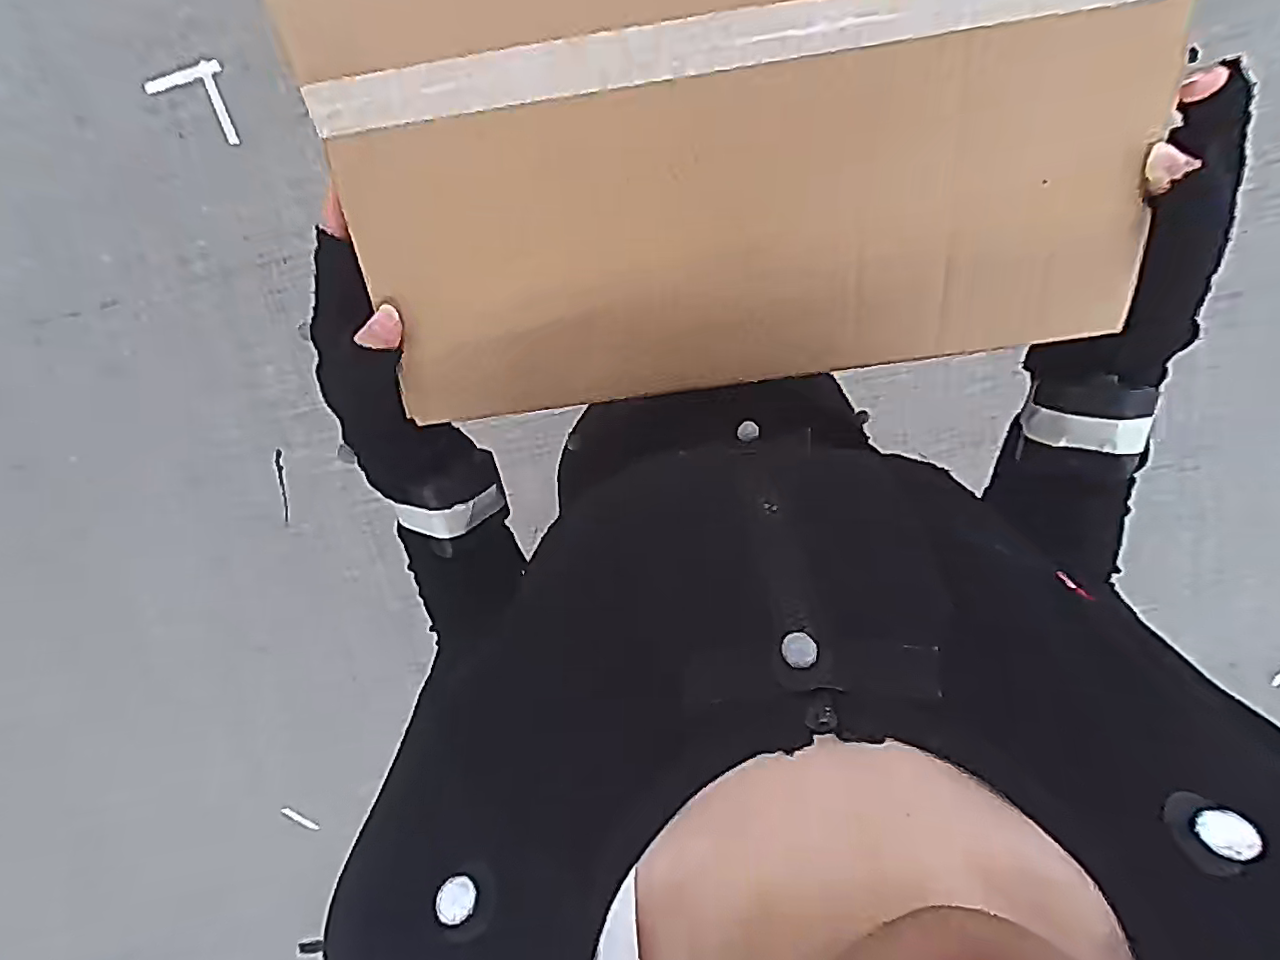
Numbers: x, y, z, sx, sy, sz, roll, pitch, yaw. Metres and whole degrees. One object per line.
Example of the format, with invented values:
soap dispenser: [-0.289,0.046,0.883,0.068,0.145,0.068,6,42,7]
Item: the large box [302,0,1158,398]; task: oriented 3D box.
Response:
large box: [0.041,-0.272,0.395,0.408,0.320,0.320,-7,114,3]
